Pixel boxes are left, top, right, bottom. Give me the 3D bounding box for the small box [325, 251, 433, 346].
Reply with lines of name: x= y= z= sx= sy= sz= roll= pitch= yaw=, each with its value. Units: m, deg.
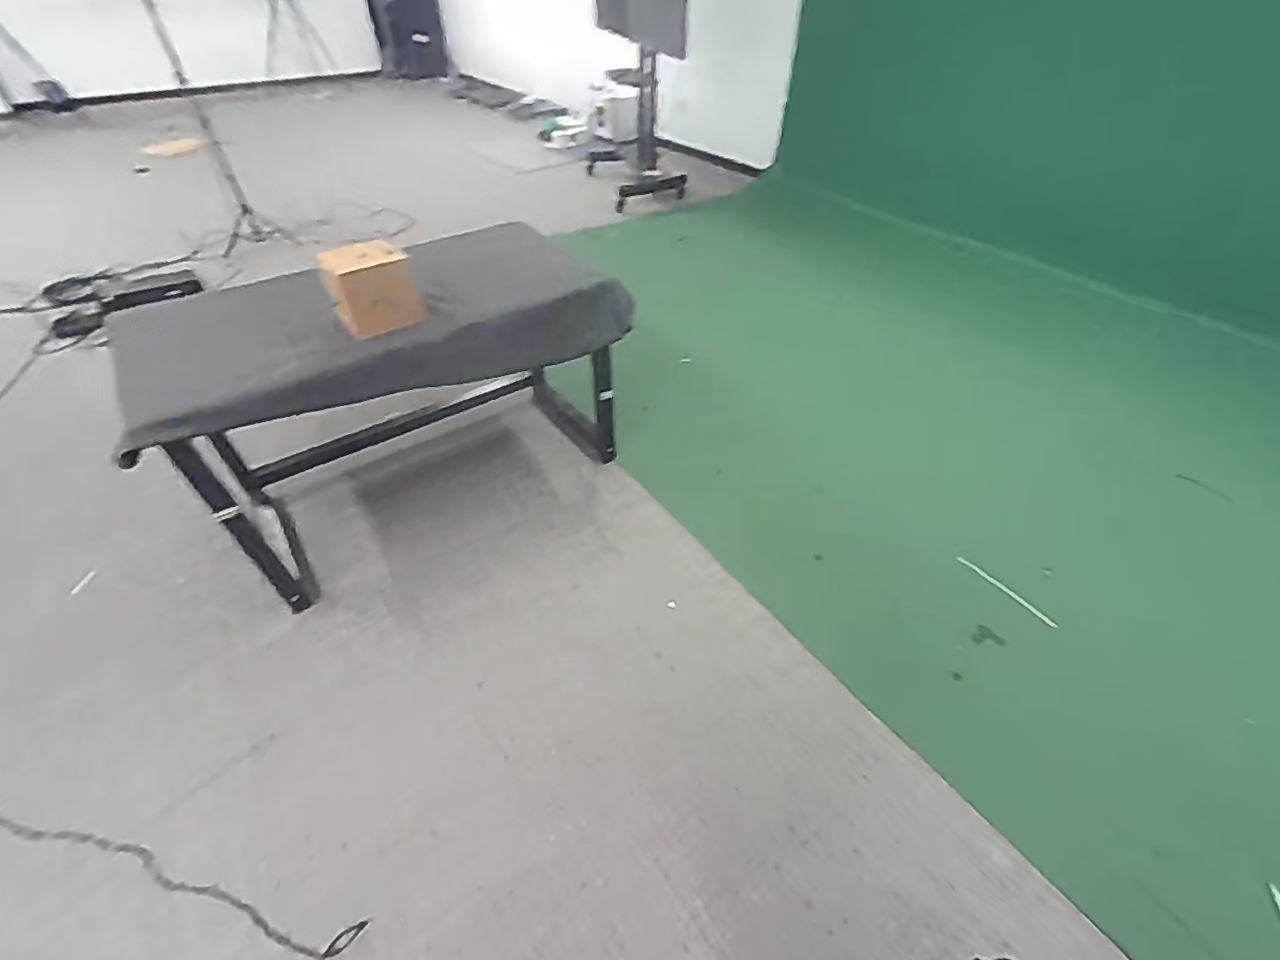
small box: x=-0.667 y=-0.468 z=1.396 sx=0.179 sy=0.176 sz=0.168 roll=-32 pitch=50 yaw=-30
